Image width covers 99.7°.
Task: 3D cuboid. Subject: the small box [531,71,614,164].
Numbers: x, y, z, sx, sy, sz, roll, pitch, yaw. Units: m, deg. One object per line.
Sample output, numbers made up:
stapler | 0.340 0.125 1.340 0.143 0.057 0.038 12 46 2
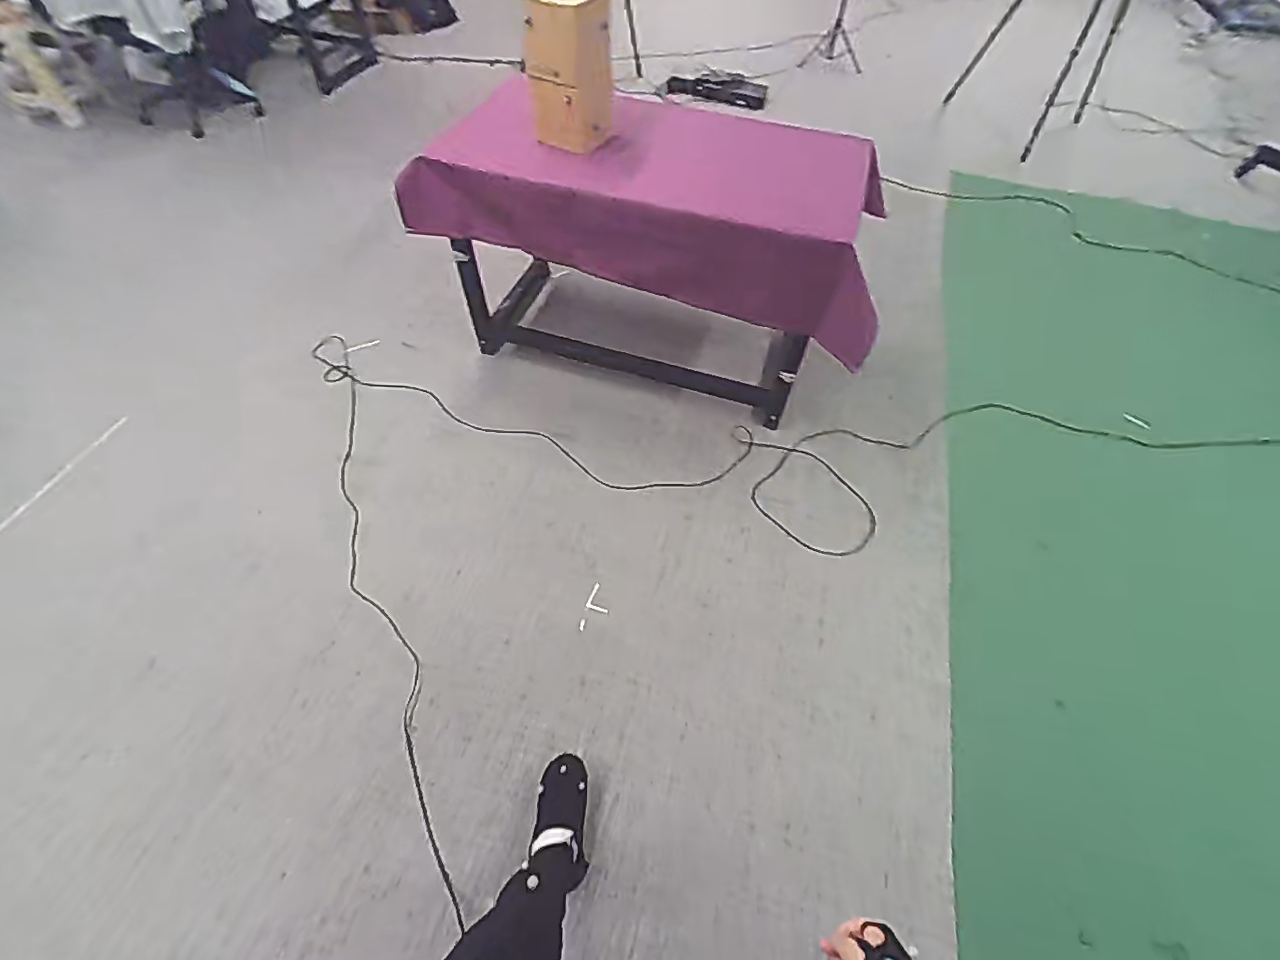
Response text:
small box | -0.192 -1.047 1.566 0.179 0.176 0.168 26 57 15
